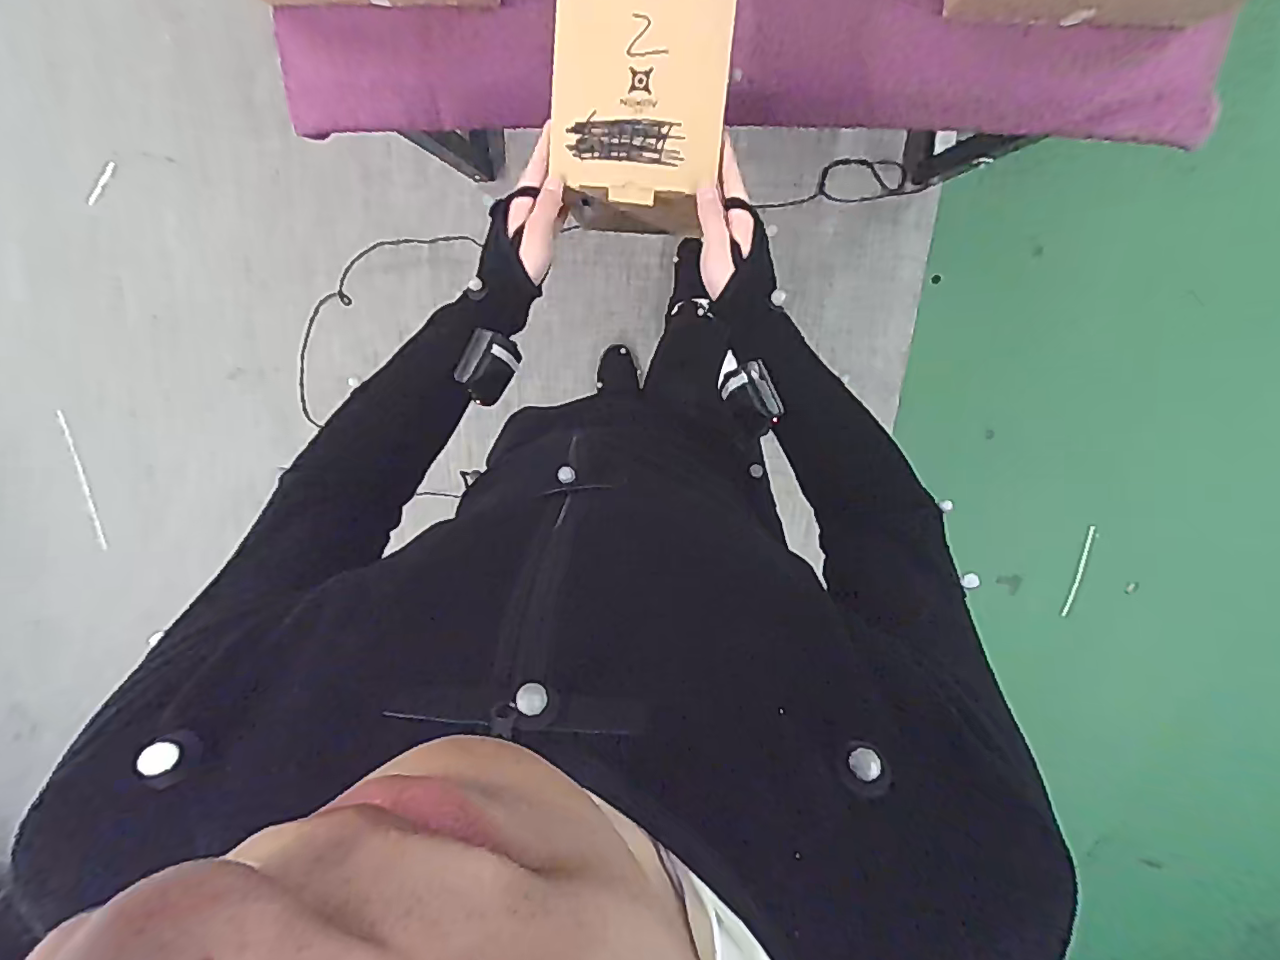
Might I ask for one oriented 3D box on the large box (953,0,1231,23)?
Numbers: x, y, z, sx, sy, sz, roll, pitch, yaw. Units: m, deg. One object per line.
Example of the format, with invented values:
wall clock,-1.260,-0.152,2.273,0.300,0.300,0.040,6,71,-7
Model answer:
large box,0.535,-0.712,0.469,0.320,0.320,0.408,2,109,2
